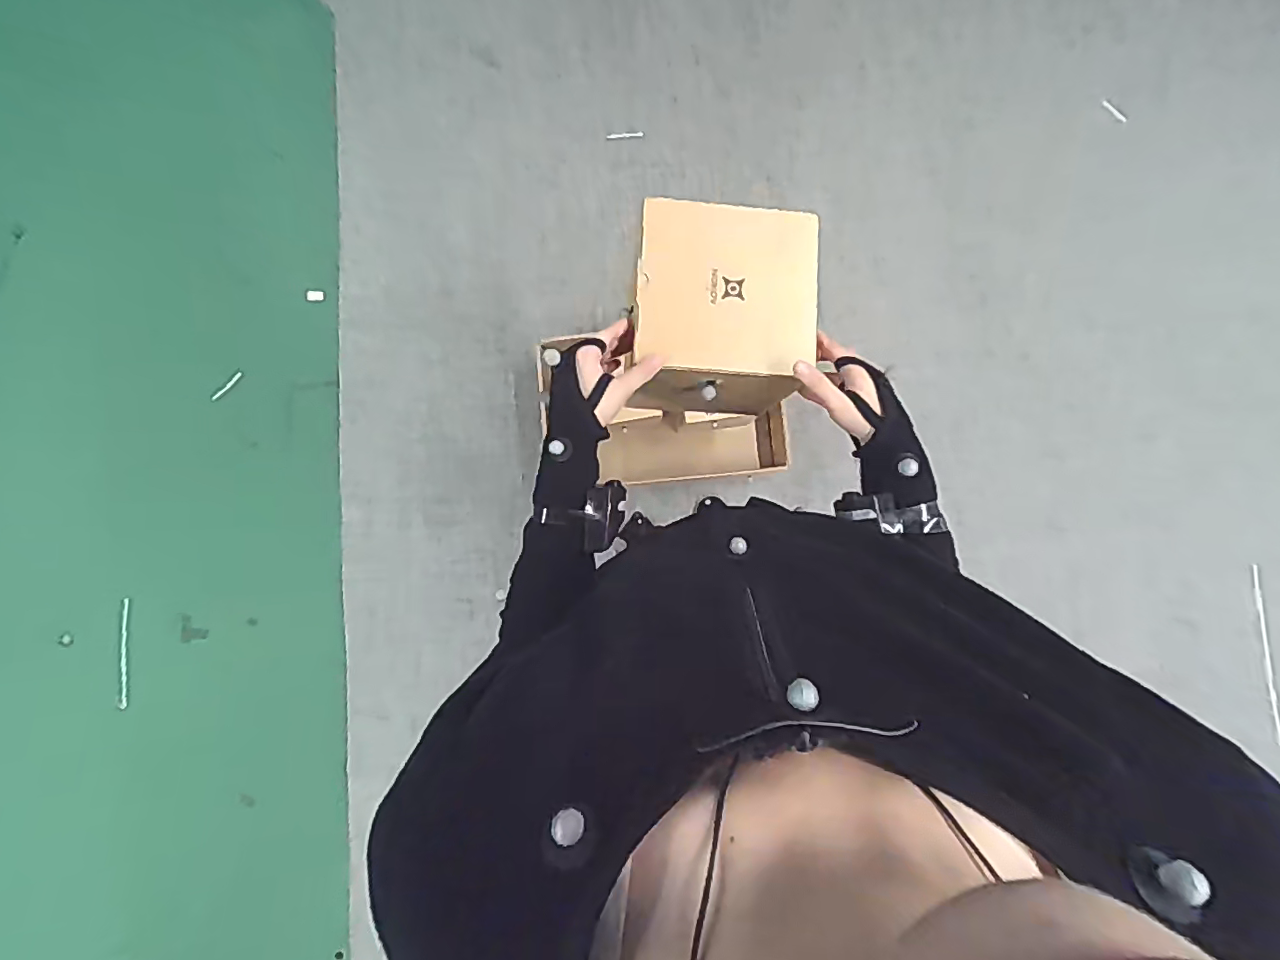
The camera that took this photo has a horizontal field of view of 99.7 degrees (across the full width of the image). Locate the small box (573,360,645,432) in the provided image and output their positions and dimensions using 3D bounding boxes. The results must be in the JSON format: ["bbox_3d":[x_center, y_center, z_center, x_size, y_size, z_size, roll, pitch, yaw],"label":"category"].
[{"bbox_3d":[-0.070,-0.224,1.427,0.179,0.176,0.168,-8,88,1],"label":"small box"}]

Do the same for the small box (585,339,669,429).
[{"bbox_3d":[-0.026,-0.219,1.262,0.168,0.176,0.179,-10,88,0],"label":"small box"}]

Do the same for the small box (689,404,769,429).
[{"bbox_3d":[0.192,-0.224,1.247,0.168,0.176,0.179,-7,86,4],"label":"small box"}]

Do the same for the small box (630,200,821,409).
[{"bbox_3d":[0.083,-0.177,0.598,0.179,0.176,0.168,3,85,-3],"label":"small box"}]
